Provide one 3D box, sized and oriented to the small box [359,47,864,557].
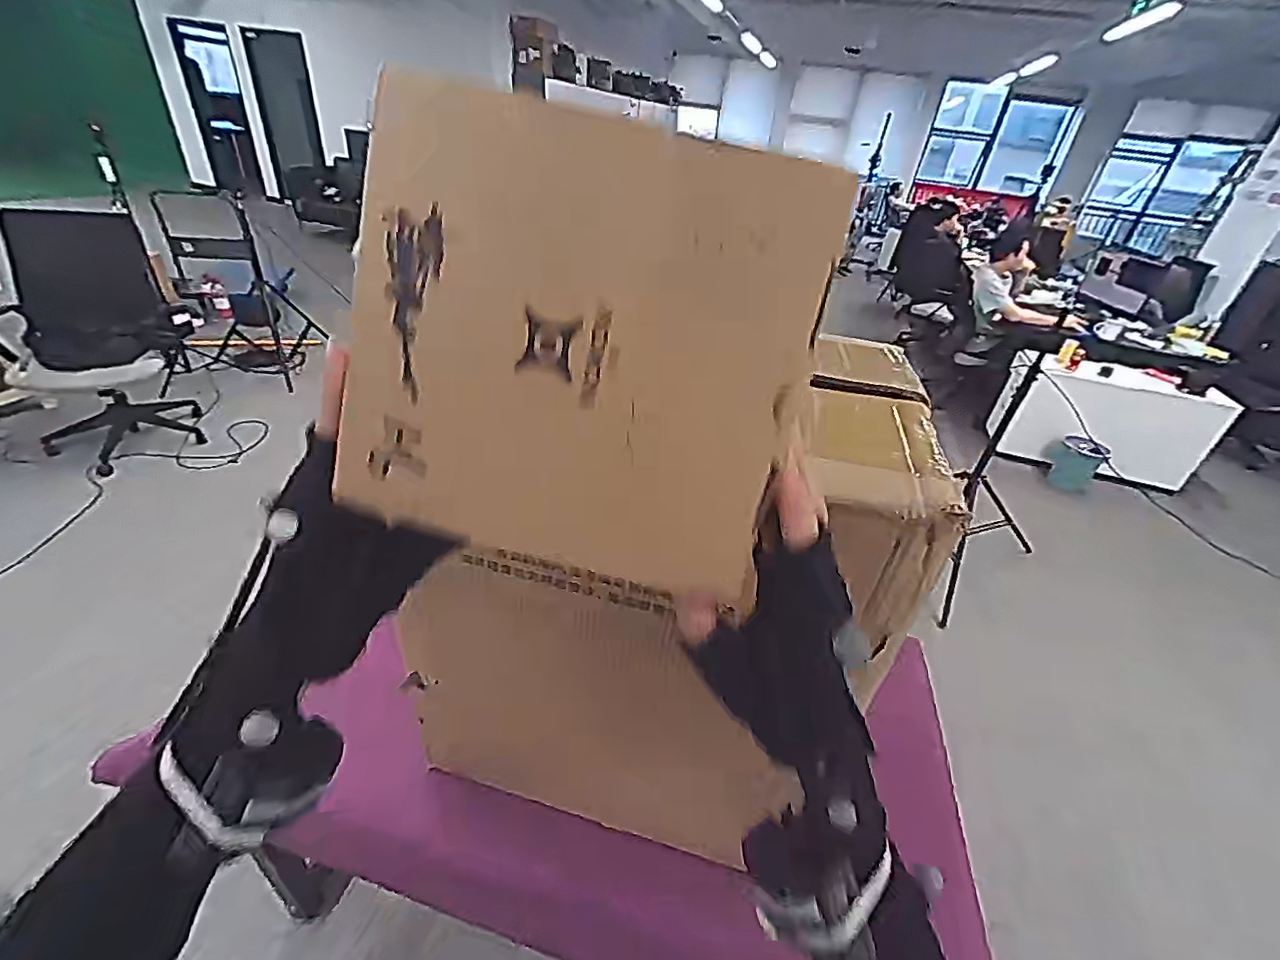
[{"bbox_3d":[-0.014,-0.079,0.294,0.179,0.168,0.176,14,12,2],"label":"small box"}]
